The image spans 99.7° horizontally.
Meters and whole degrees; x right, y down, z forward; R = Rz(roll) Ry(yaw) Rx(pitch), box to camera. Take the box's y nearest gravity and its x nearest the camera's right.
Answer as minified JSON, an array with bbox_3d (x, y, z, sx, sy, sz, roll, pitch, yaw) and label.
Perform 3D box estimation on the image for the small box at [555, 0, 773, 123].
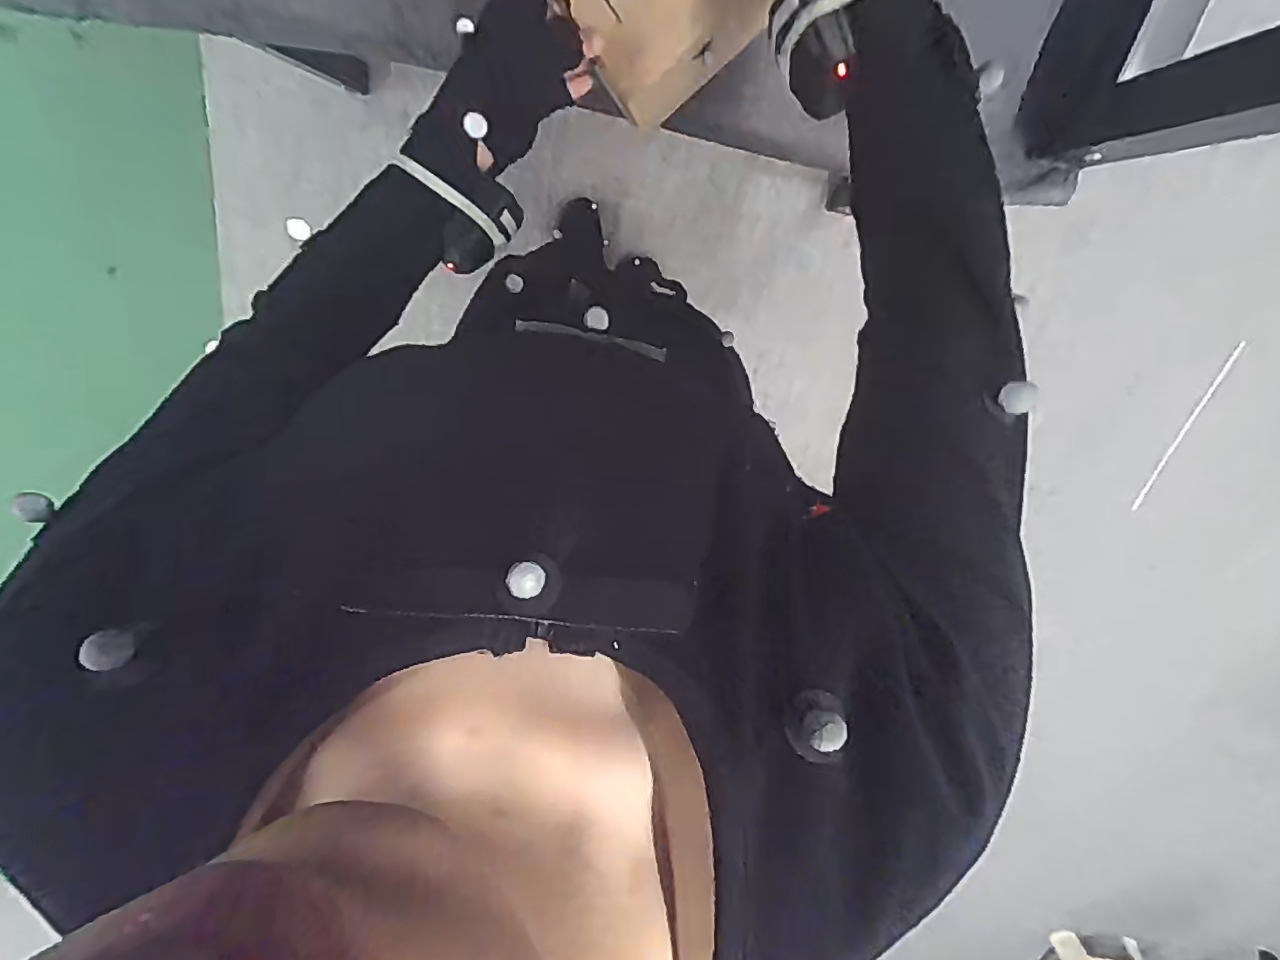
[{"bbox_3d":[0.015,-0.442,0.451,0.179,0.176,0.168,-36,107,18],"label":"small box"}]
